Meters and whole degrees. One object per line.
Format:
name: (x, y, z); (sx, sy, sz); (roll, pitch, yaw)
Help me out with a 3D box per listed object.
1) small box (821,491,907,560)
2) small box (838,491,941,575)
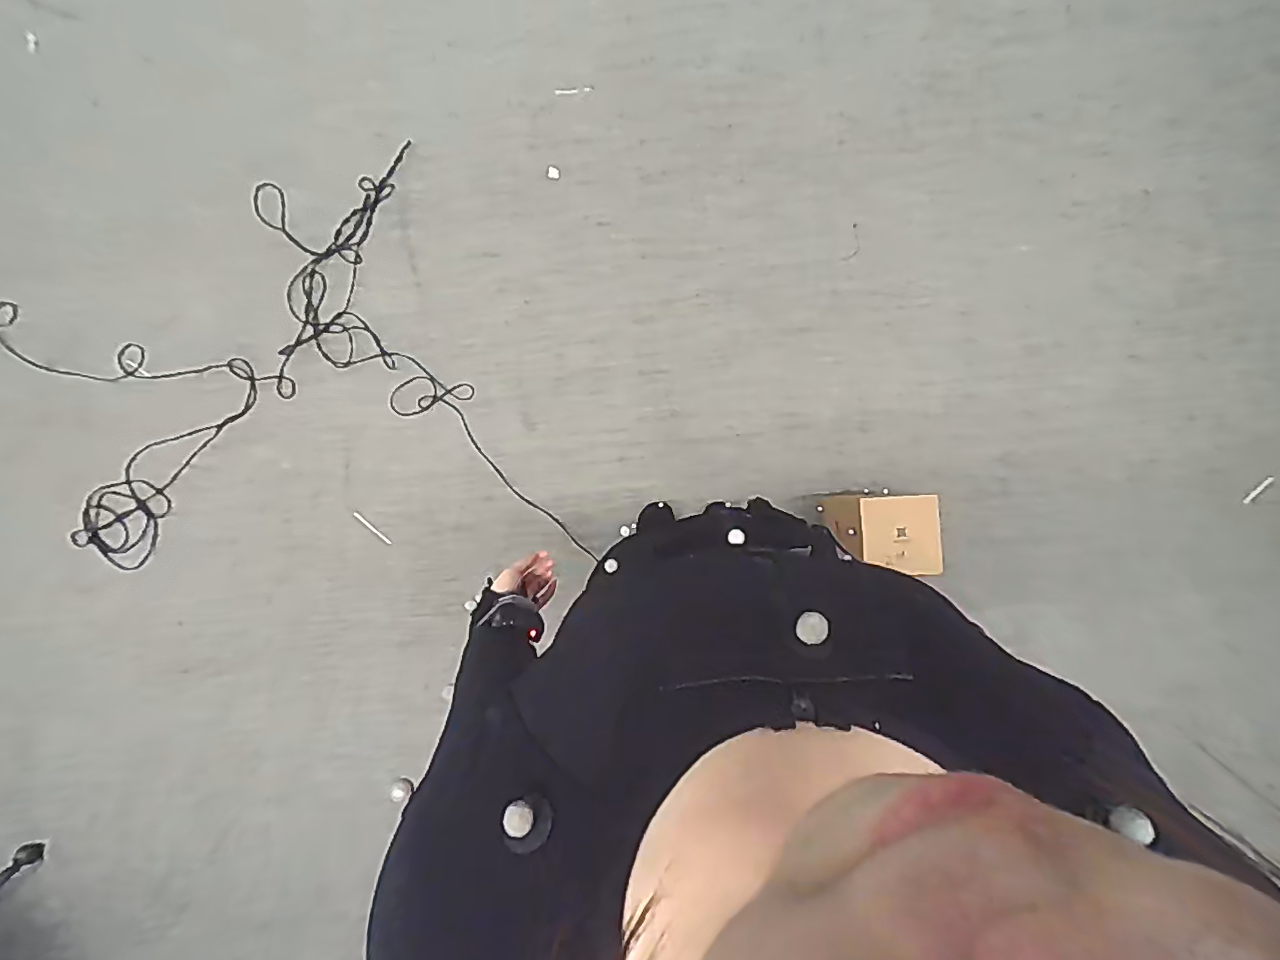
small box: (0.577, 0.114, 1.400); (0.179, 0.176, 0.168); (-4, 89, 3)
small box: (0.560, 0.116, 1.236); (0.168, 0.176, 0.179); (-3, 90, 4)
